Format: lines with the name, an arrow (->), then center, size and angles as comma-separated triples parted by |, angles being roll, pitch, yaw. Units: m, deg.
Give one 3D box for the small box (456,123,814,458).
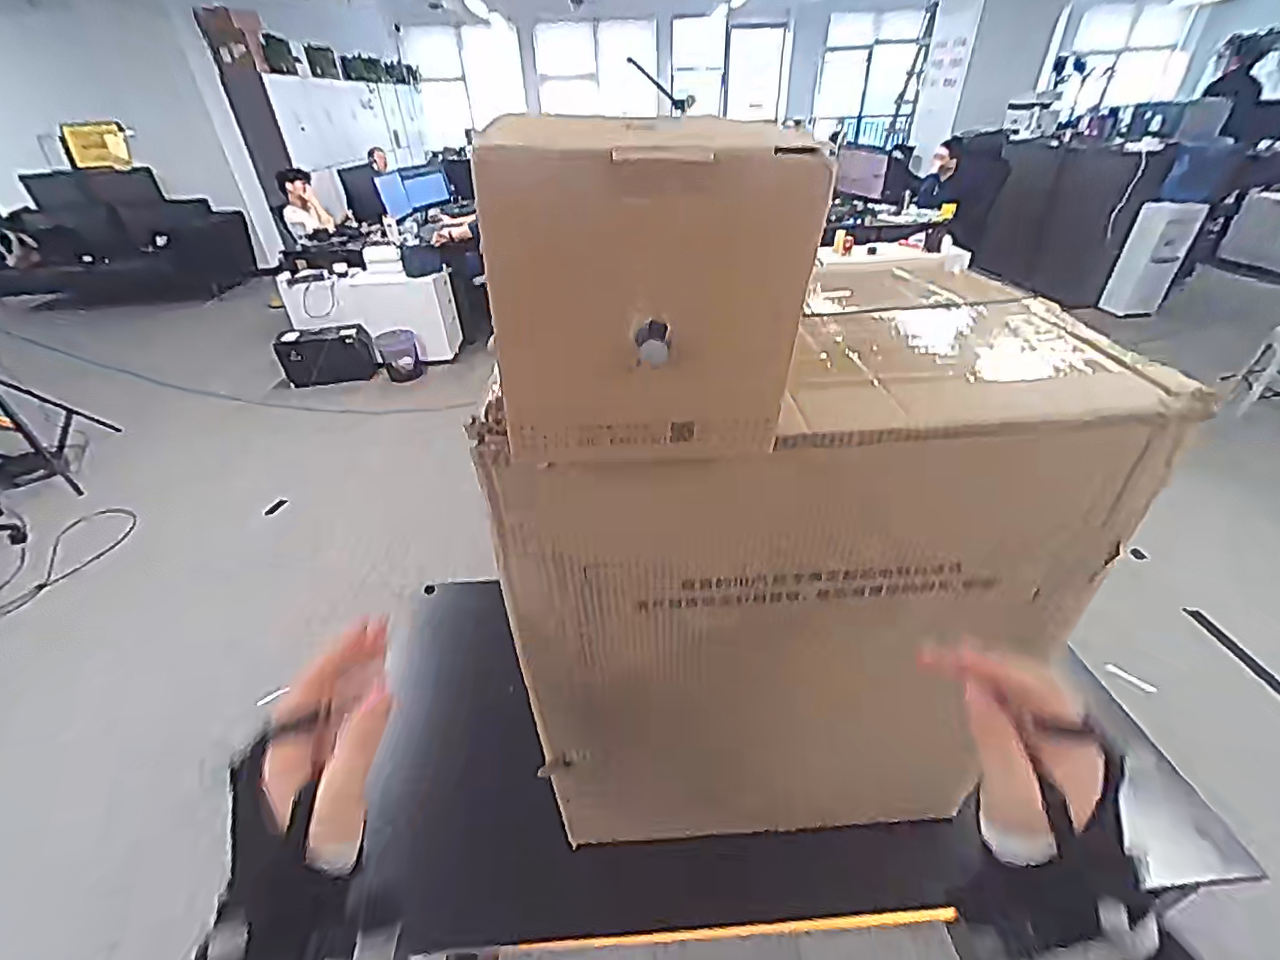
small box -> -0.008, -0.124, 0.352 | 0.168, 0.176, 0.179 | -3, 37, -6
